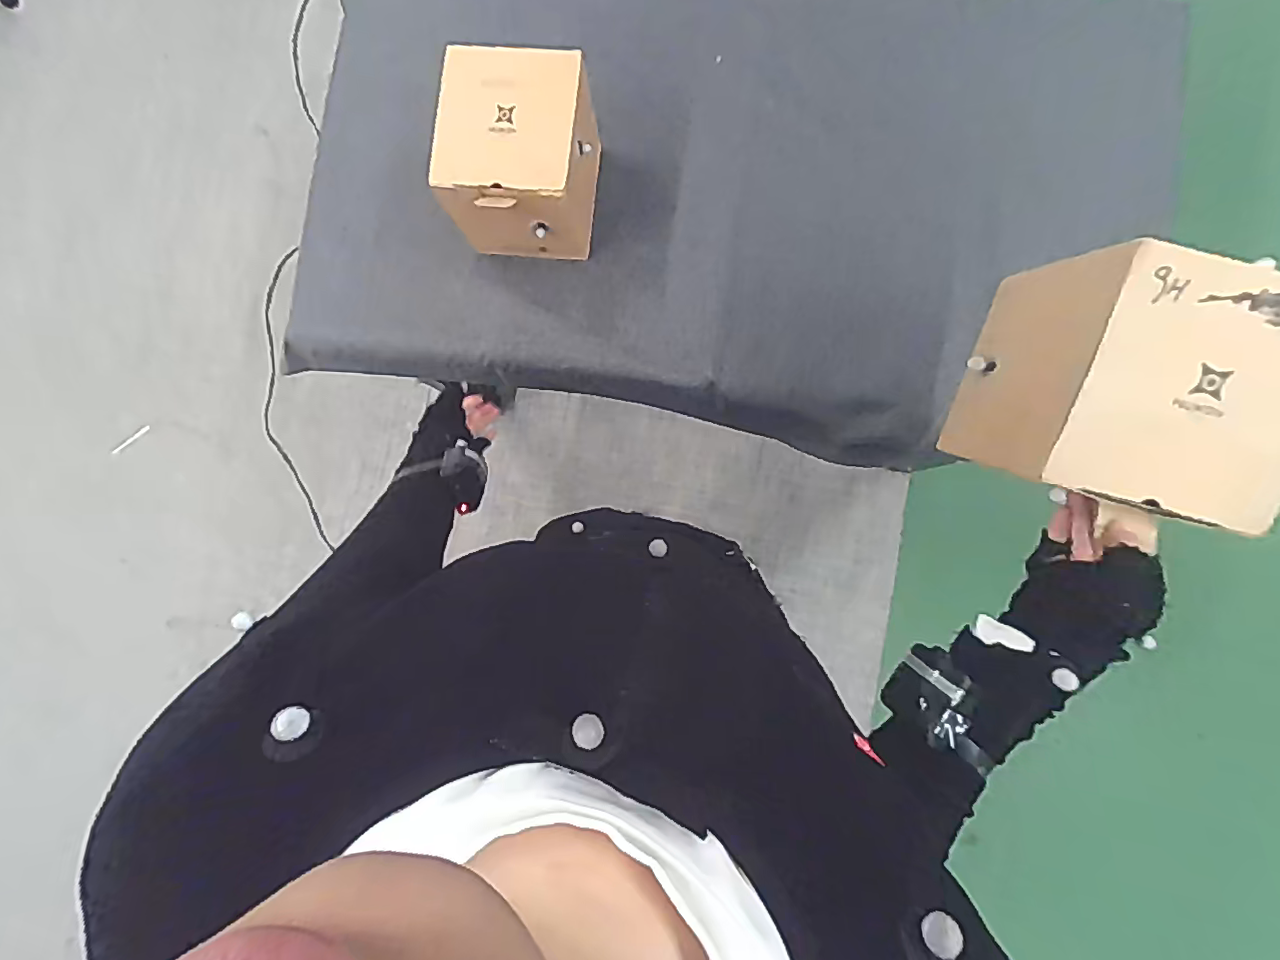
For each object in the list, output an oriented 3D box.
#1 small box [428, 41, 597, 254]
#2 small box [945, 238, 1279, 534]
[{"bbox_3d":[-0.153,-0.418,0.706,0.168,0.176,0.179,6,86,3],"label":"small box"},{"bbox_3d":[0.396,-0.079,0.459,0.168,0.176,0.179,15,103,0],"label":"small box"}]
